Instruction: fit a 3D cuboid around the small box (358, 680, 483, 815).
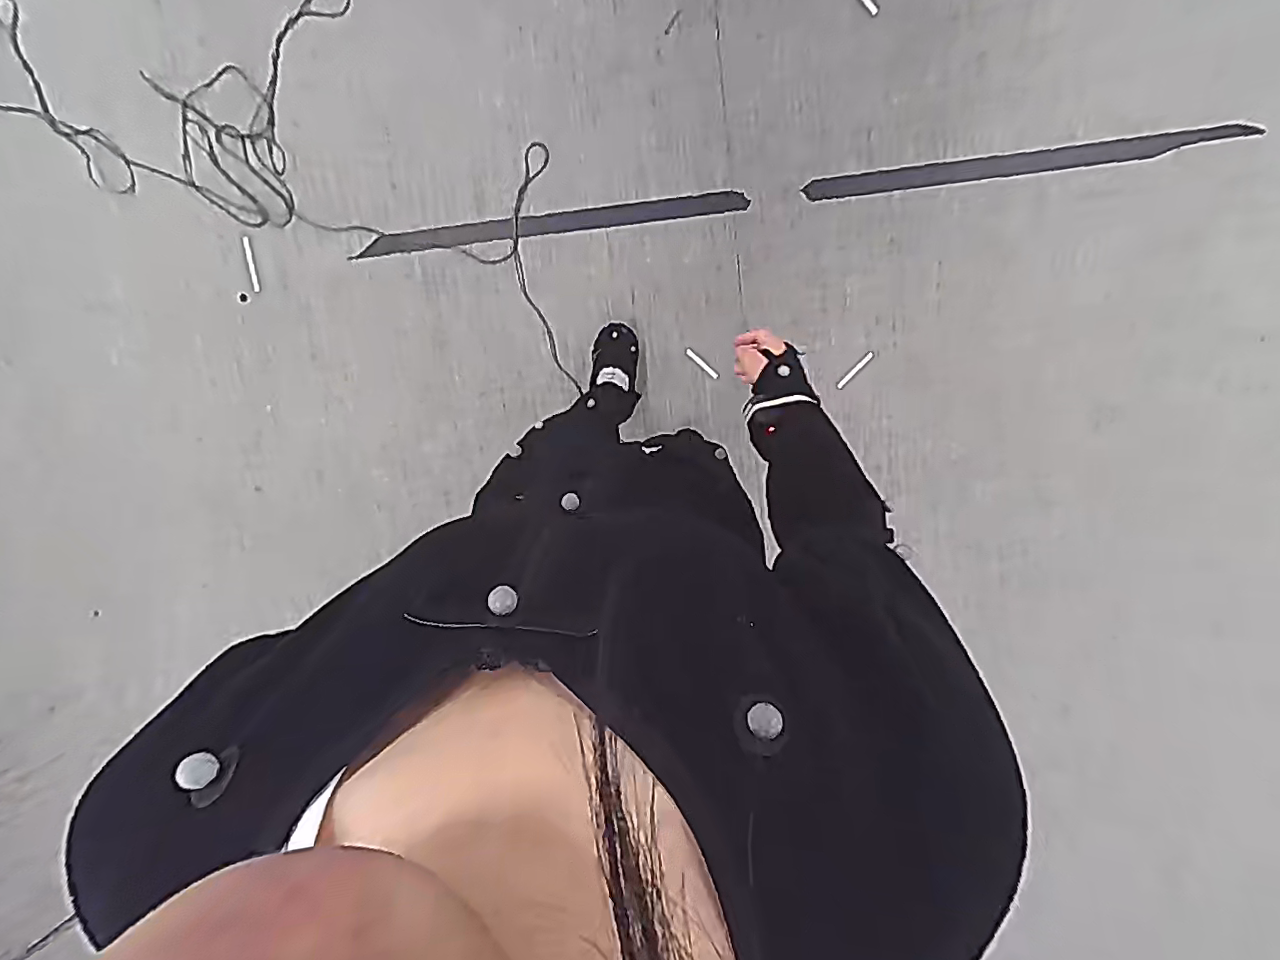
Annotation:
[{"bbox_3d":[-0.488,0.601,1.234,0.168,0.176,0.179,41,99,-5],"label":"small box"}]
